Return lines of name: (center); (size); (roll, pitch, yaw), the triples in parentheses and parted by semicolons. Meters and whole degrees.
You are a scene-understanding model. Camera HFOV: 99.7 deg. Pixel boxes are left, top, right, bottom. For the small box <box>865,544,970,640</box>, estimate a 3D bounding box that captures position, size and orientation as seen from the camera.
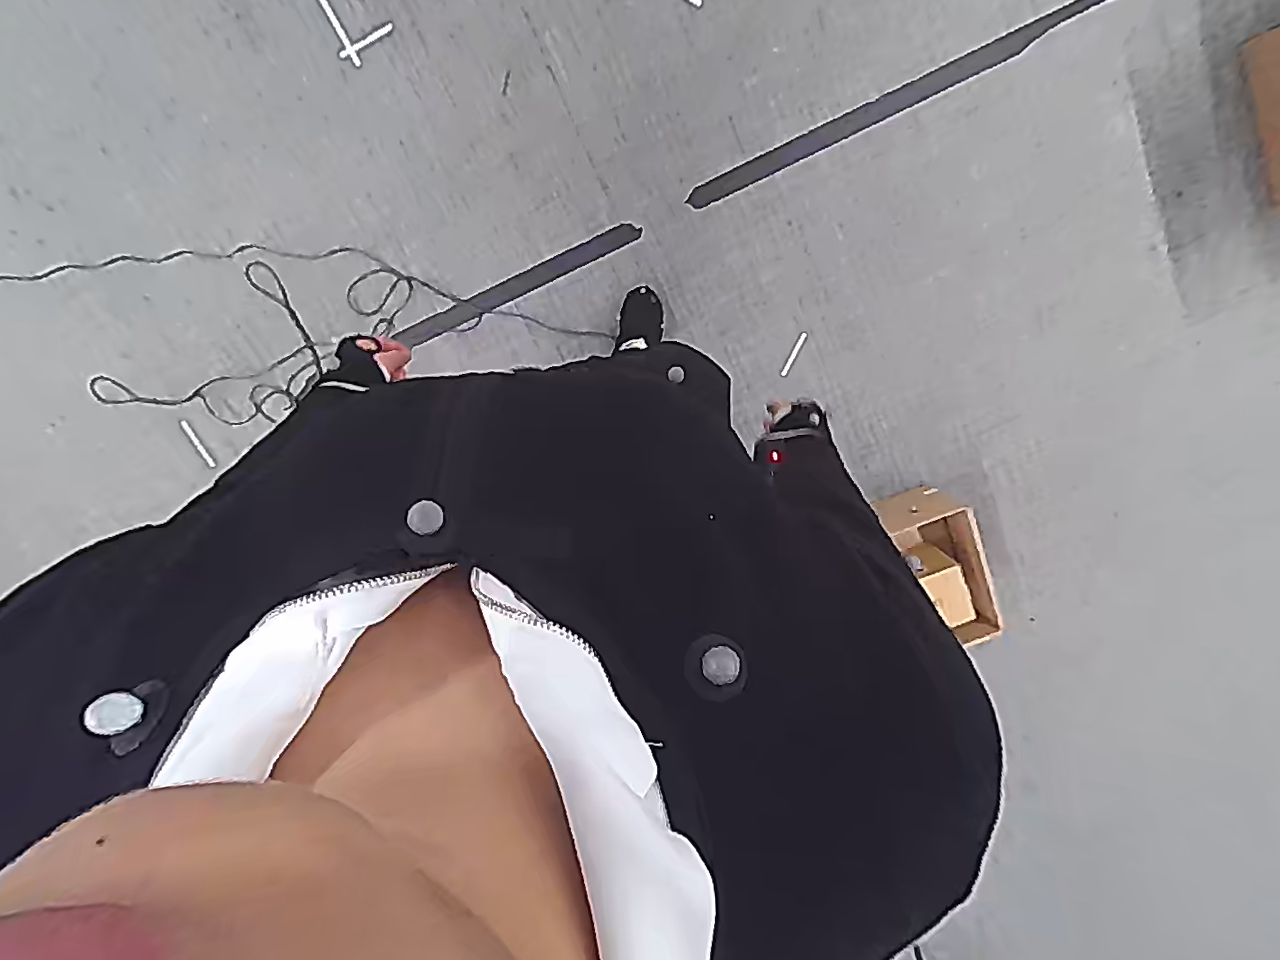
small box: (0.745, 0.296, 1.466); (0.179, 0.176, 0.168); (-23, 102, 7)
